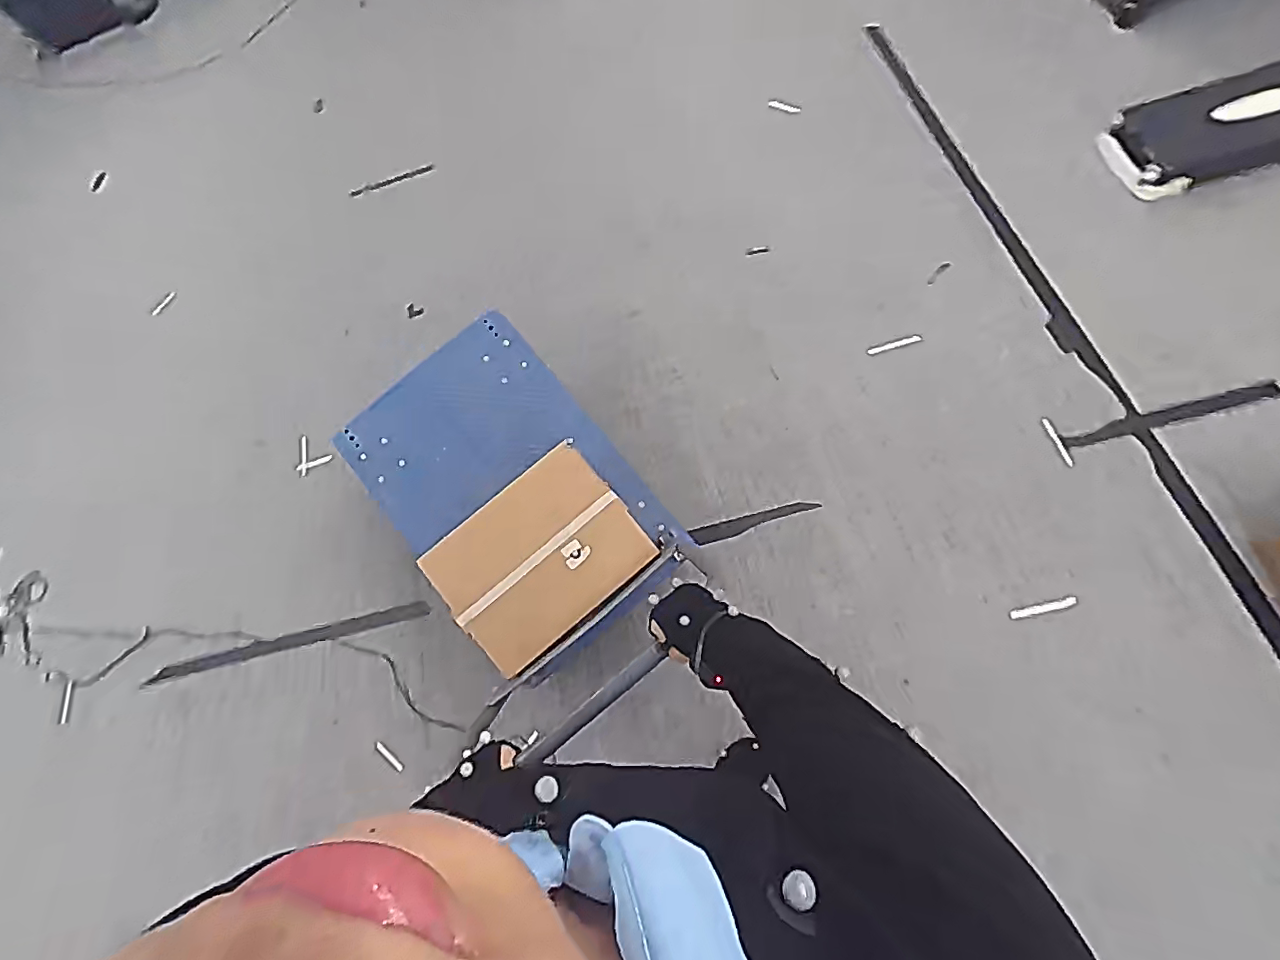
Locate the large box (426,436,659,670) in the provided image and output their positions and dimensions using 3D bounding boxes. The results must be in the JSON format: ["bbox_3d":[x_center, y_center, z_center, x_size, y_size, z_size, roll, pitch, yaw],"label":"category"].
[{"bbox_3d":[-0.205,0.168,1.274,0.408,0.320,0.320,-40,85,-5],"label":"large box"}]
